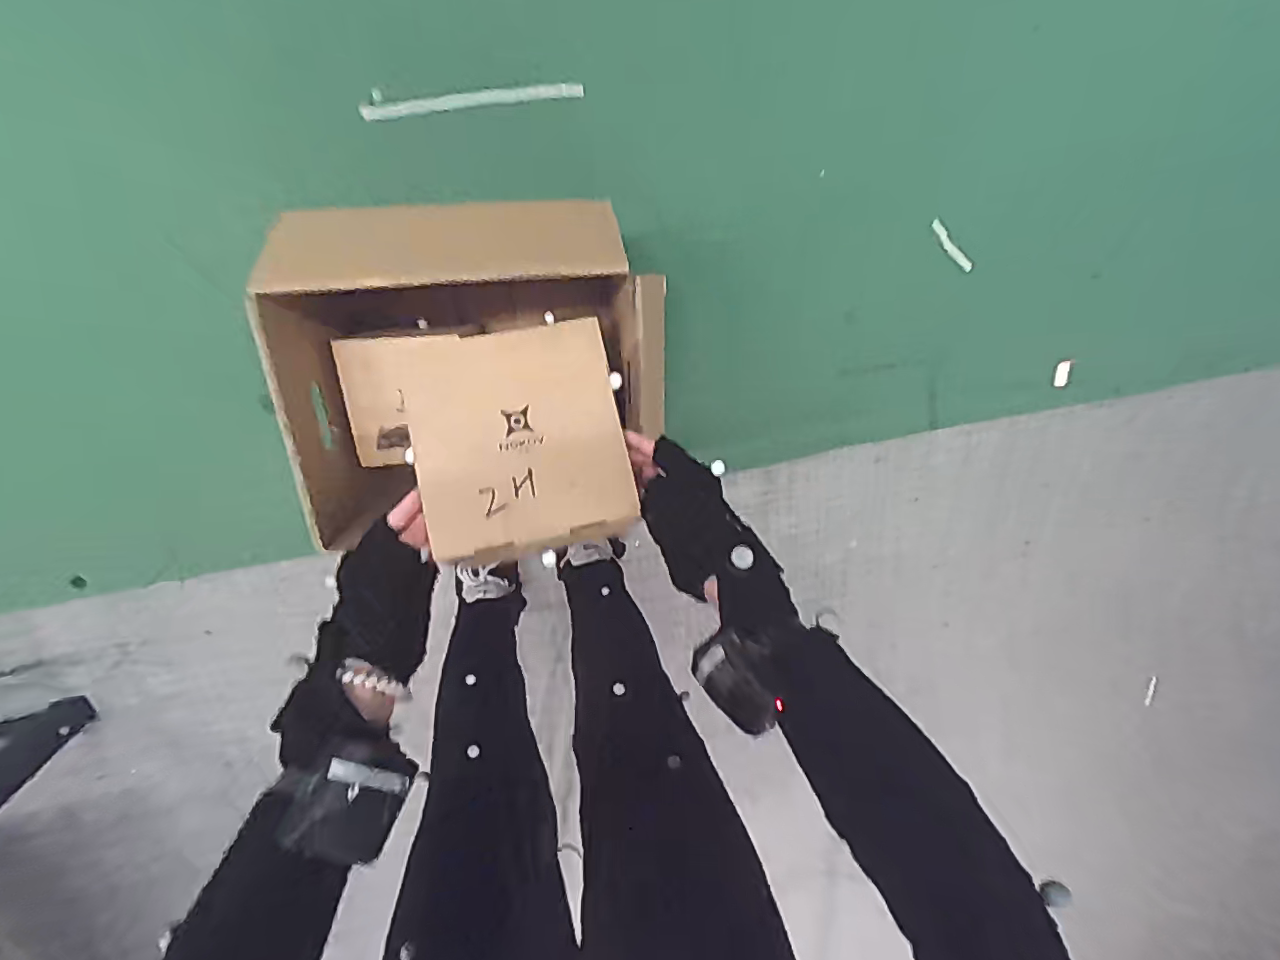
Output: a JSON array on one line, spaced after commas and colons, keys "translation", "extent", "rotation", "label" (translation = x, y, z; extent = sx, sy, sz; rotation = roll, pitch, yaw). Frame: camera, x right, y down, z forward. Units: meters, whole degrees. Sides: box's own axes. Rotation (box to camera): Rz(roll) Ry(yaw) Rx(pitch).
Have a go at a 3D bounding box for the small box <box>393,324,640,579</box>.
[{"translation": [-0.107, -0.015, 0.501], "extent": [0.168, 0.176, 0.179], "rotation": [-13, 79, -9], "label": "small box"}]
